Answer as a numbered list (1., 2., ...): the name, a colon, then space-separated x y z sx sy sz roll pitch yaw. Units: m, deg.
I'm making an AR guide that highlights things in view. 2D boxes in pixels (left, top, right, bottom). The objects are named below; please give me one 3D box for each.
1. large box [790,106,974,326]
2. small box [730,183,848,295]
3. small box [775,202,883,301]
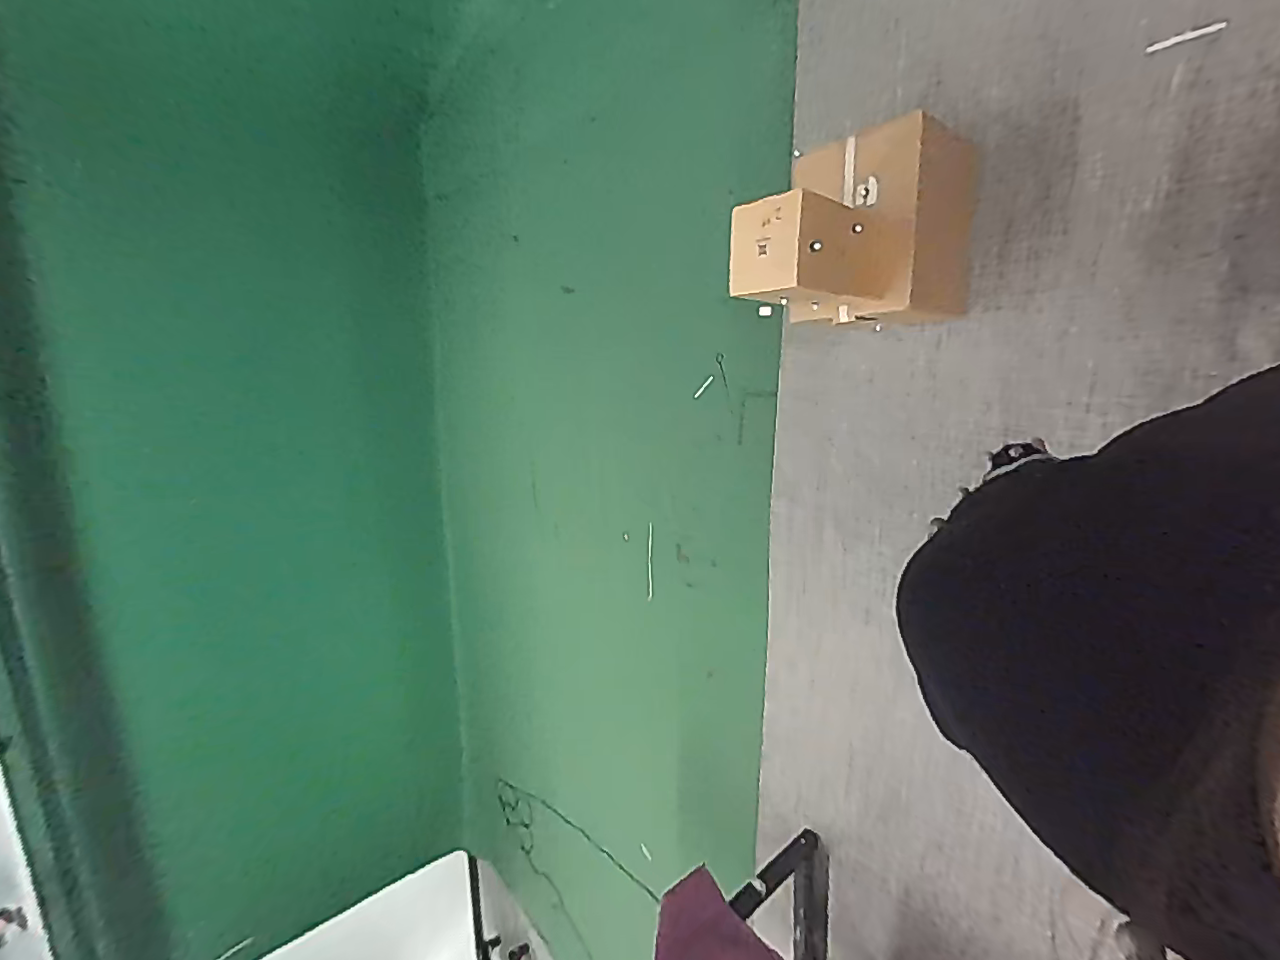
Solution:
1. large box: 0.602 -0.617 1.360 0.320 0.320 0.408 11 105 49
2. small box: 0.303 -0.476 1.101 0.168 0.176 0.179 14 107 48
3. small box: 0.424 -0.499 1.212 0.168 0.176 0.179 14 107 48
